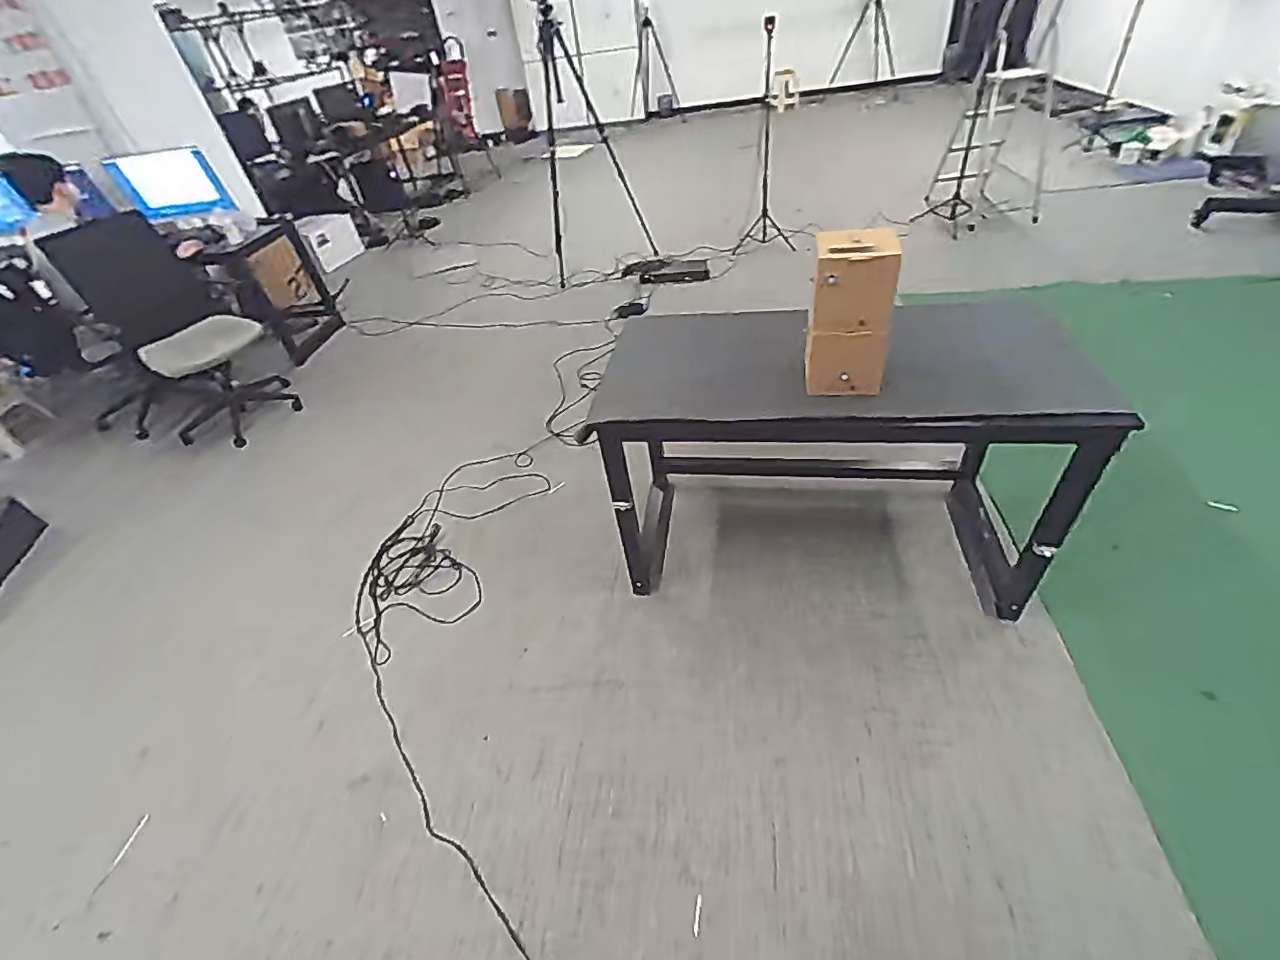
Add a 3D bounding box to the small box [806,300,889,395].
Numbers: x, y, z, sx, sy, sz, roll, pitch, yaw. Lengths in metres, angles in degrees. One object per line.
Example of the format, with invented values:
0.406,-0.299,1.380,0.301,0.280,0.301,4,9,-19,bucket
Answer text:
0.500,-0.326,1.329,0.168,0.176,0.179,2,42,14,small box
